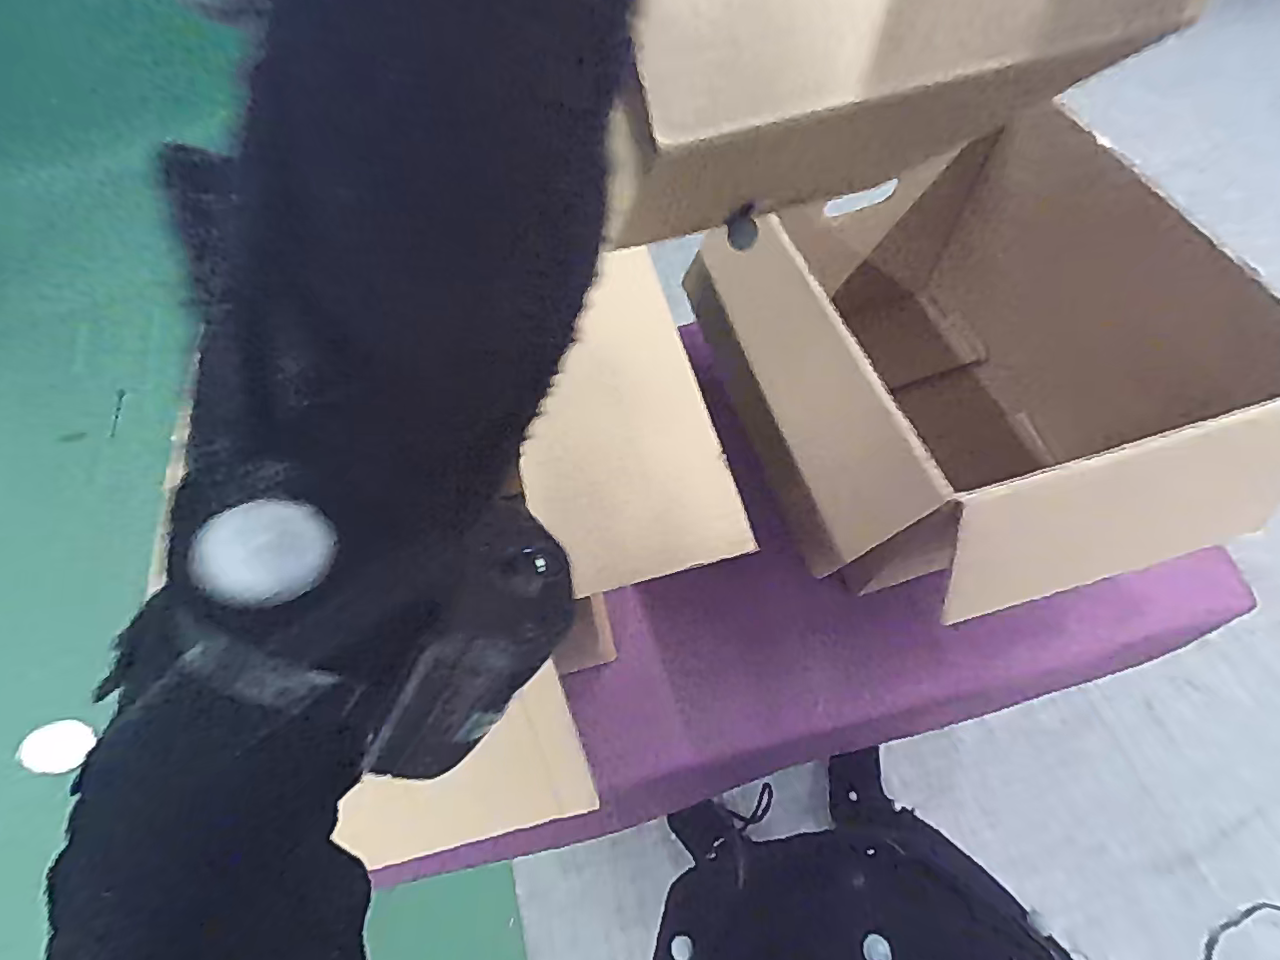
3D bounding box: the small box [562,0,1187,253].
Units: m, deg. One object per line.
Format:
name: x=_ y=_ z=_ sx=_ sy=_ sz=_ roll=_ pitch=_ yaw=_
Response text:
small box: x=0.057 y=-0.212 z=0.217 sx=0.168 sy=0.176 sz=0.179 roll=-15 pitch=104 yaw=-3
